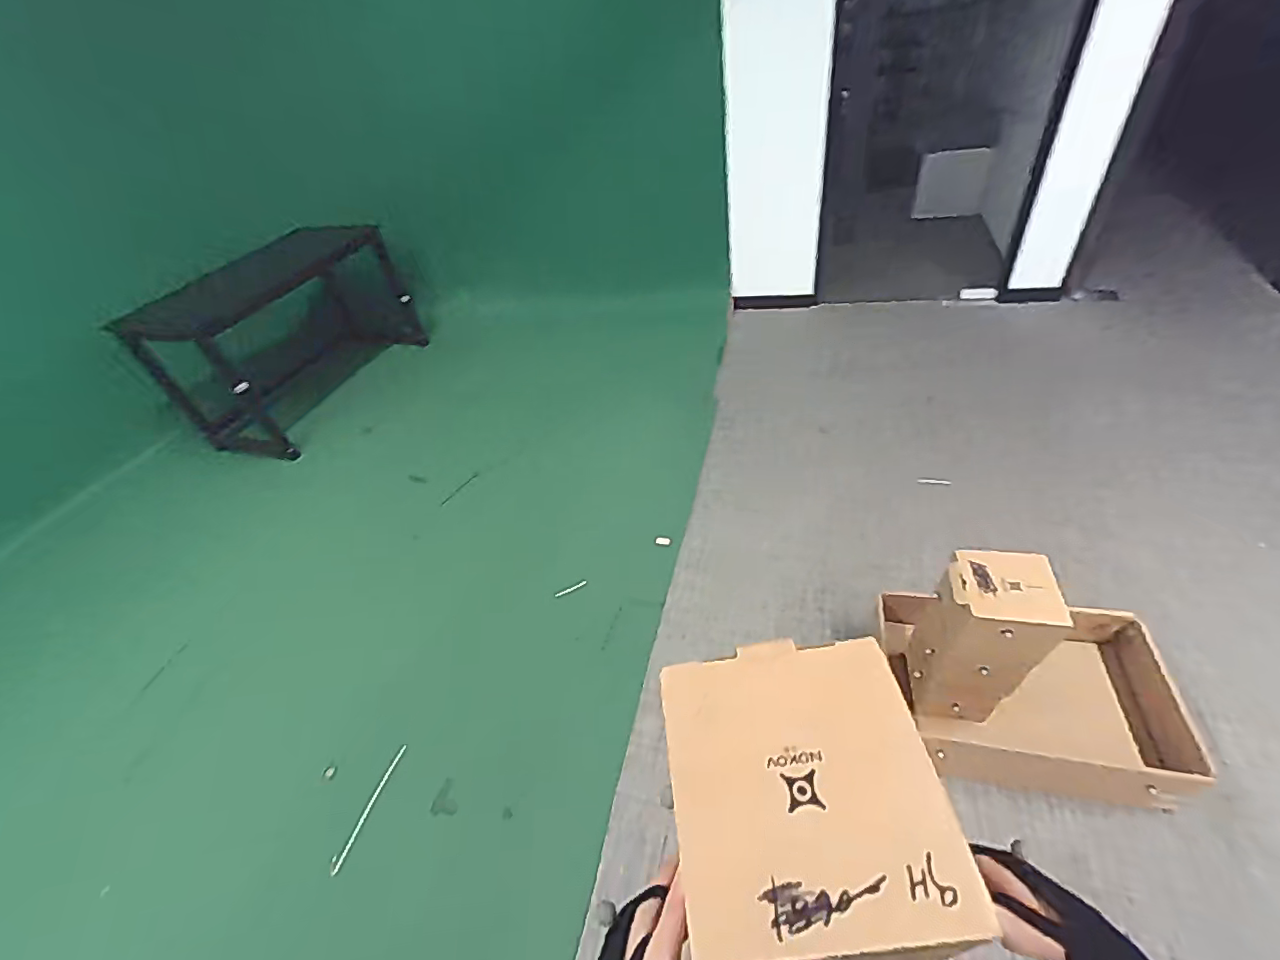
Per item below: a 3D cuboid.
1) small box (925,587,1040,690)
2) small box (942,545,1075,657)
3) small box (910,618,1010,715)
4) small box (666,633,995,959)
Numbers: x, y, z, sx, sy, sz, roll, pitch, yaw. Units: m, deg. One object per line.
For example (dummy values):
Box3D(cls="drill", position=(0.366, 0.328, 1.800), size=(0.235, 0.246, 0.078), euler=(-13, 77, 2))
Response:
Box3D(cls="small box", position=(0.774, 0.367, 1.249), size=(0.179, 0.176, 0.168), euler=(2, 46, 13))
Box3D(cls="small box", position=(0.752, 0.255, 1.132), size=(0.179, 0.176, 0.168), euler=(2, 47, 13))
Box3D(cls="small box", position=(0.801, 0.474, 1.370), size=(0.168, 0.176, 0.179), euler=(1, 44, 13))
Box3D(cls="small box", position=(0.115, 0.243, 0.405), size=(0.168, 0.176, 0.179), euler=(-10, 43, 4))
